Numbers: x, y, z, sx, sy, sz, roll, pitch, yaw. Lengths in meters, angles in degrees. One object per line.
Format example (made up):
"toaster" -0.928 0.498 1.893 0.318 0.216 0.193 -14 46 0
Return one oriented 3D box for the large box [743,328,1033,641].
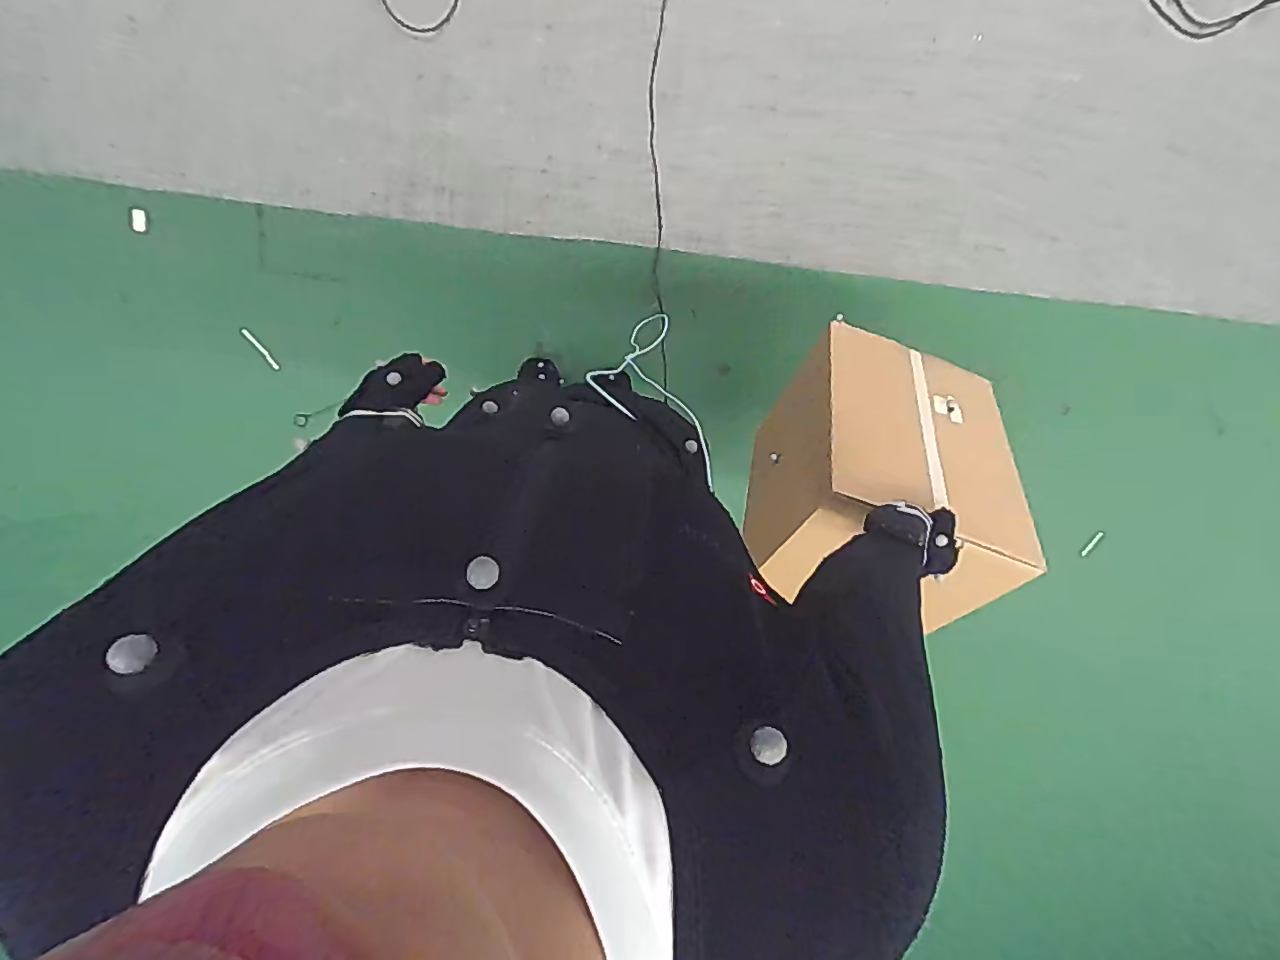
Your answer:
"large box" 0.394 0.011 0.962 0.320 0.408 0.320 20 140 -4
